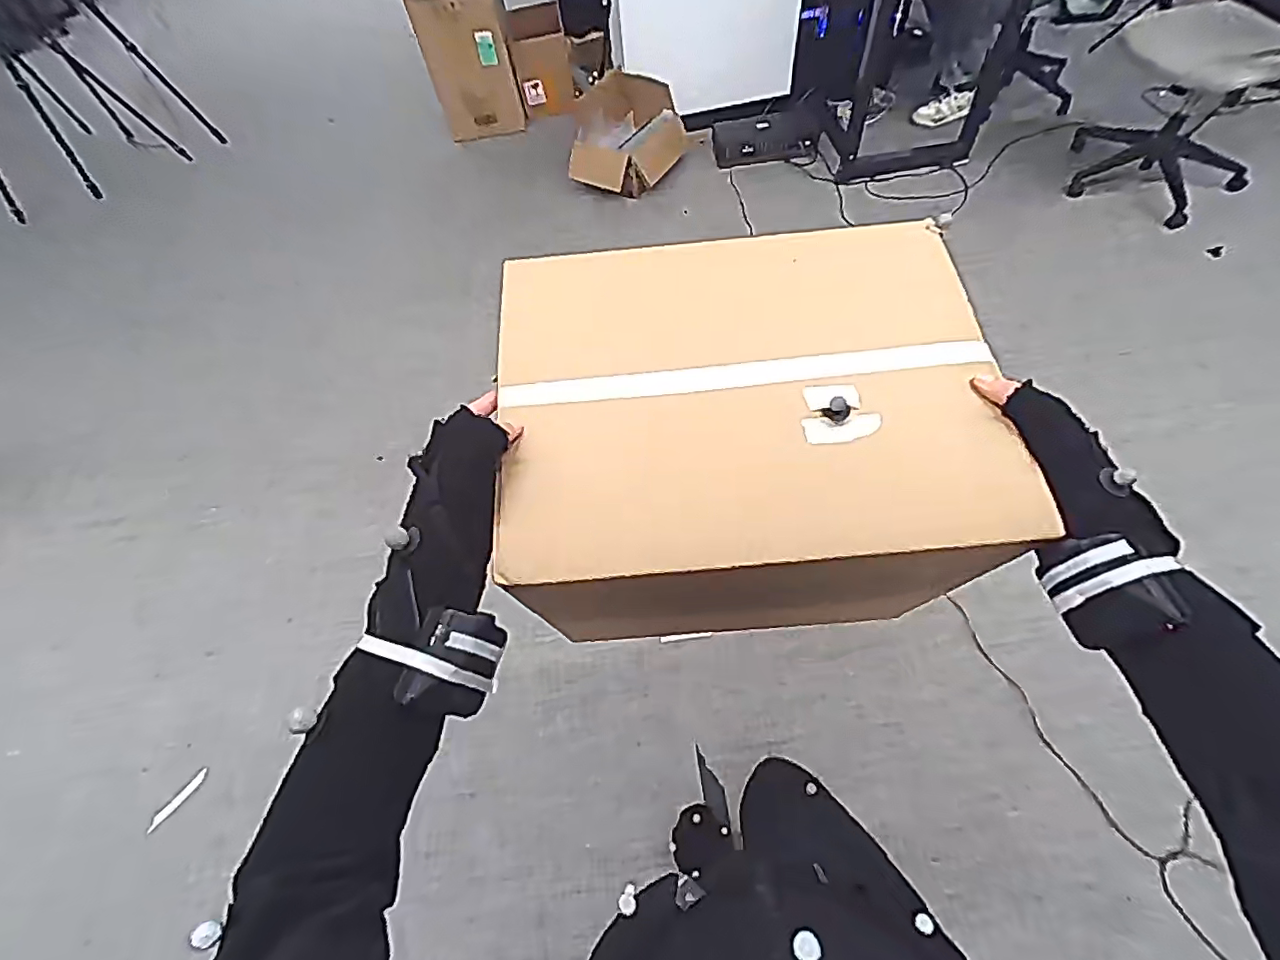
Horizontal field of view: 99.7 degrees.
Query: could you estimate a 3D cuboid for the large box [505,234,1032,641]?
[{"bbox_3d":[0.089,-0.019,0.598,0.408,0.320,0.320,-5,66,1],"label":"large box"}]
